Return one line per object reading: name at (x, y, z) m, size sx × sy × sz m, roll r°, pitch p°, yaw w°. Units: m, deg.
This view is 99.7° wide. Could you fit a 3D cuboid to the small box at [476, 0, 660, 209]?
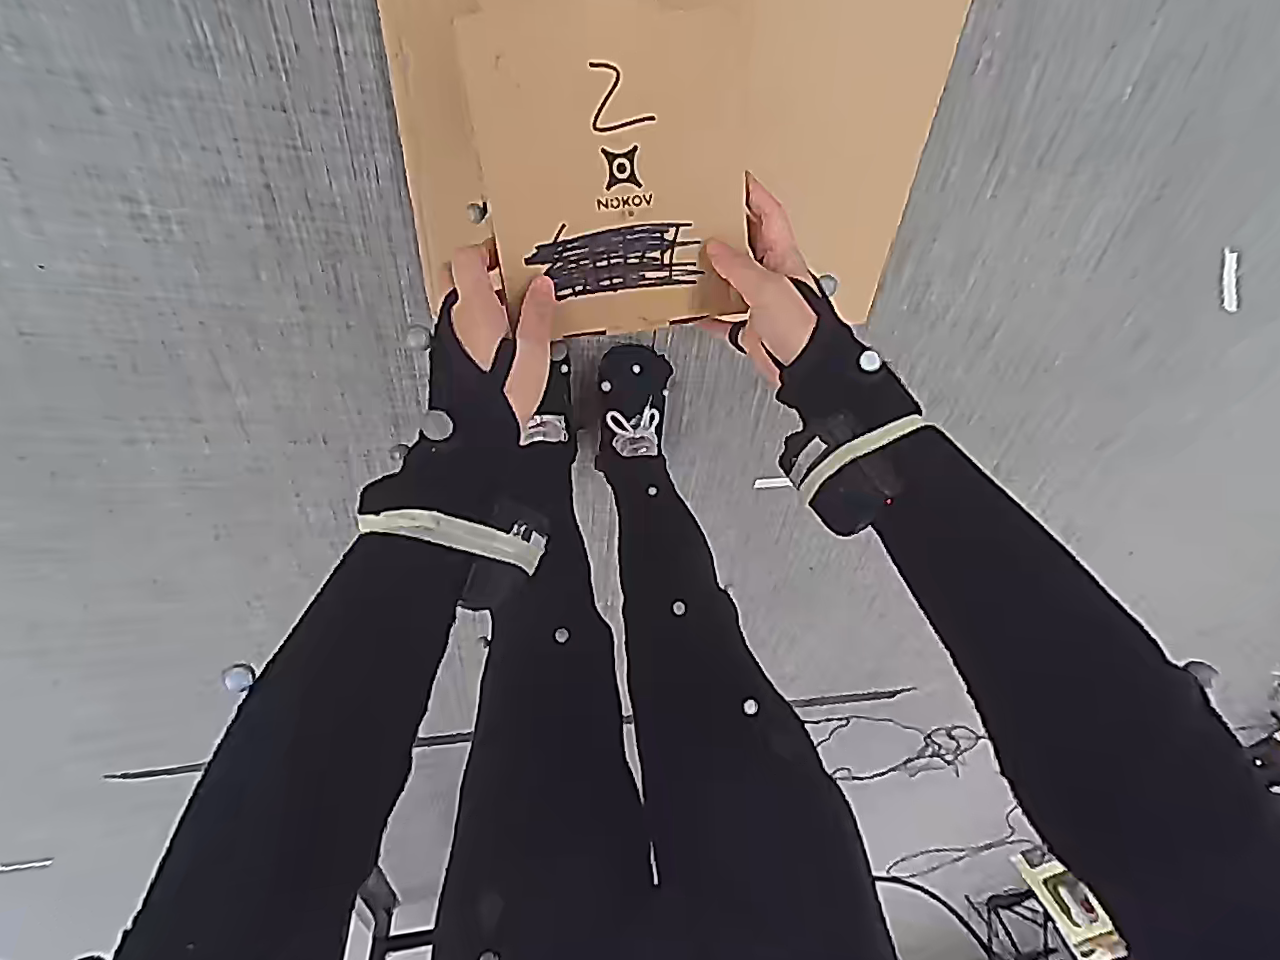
small box at (-0.084, -0.412, 0.588) m, size 0.168 × 0.176 × 0.179 m, roll -3°, pitch 127°, yaw -12°
